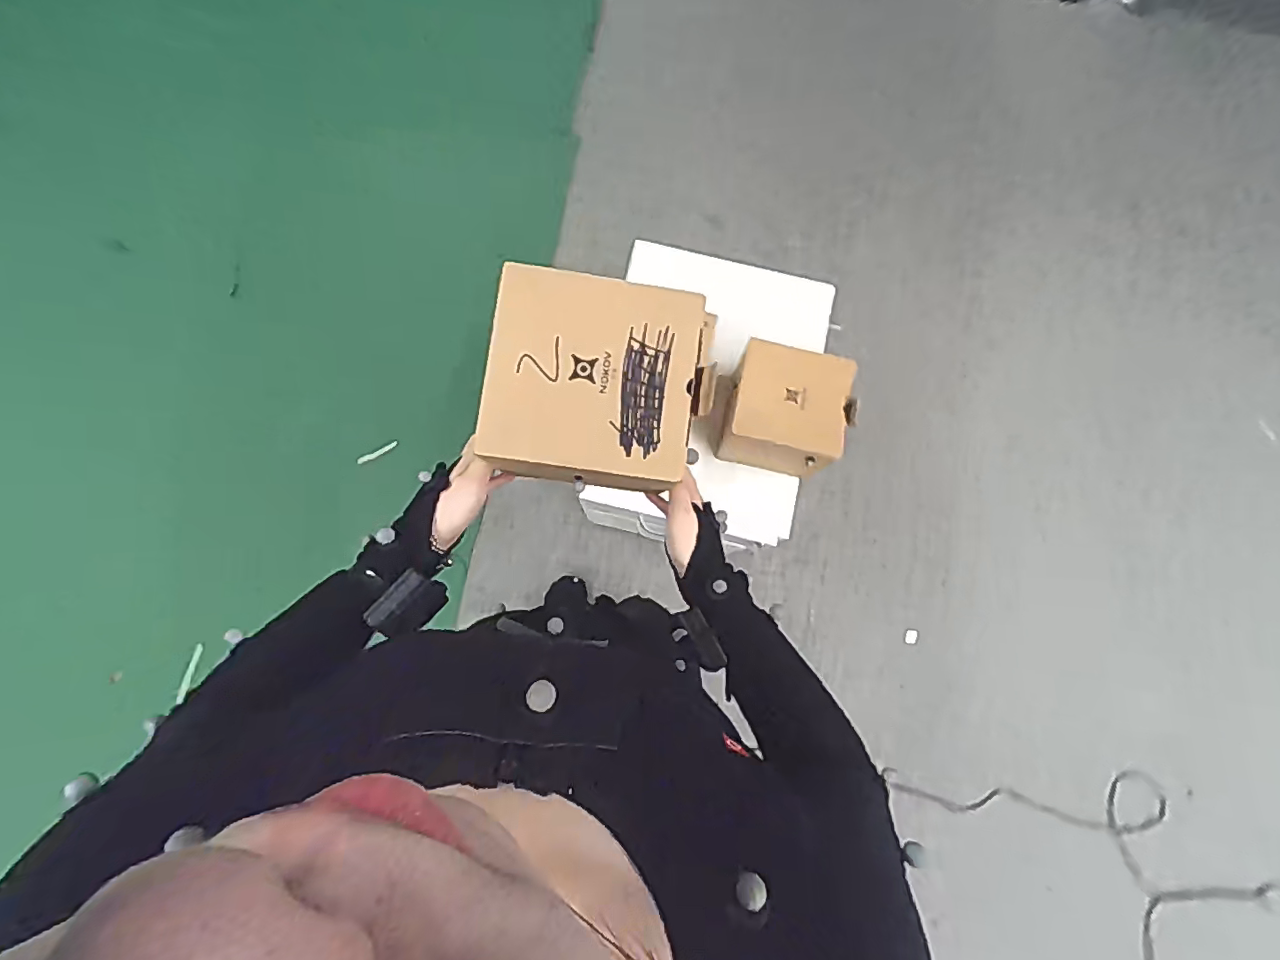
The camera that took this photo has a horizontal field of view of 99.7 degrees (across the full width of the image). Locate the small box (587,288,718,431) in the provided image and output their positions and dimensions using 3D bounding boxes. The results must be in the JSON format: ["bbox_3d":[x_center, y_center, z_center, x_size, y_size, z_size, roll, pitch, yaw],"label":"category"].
[{"bbox_3d":[0.017,-0.193,0.917,0.179,0.176,0.168,14,80,-1],"label":"small box"}]
